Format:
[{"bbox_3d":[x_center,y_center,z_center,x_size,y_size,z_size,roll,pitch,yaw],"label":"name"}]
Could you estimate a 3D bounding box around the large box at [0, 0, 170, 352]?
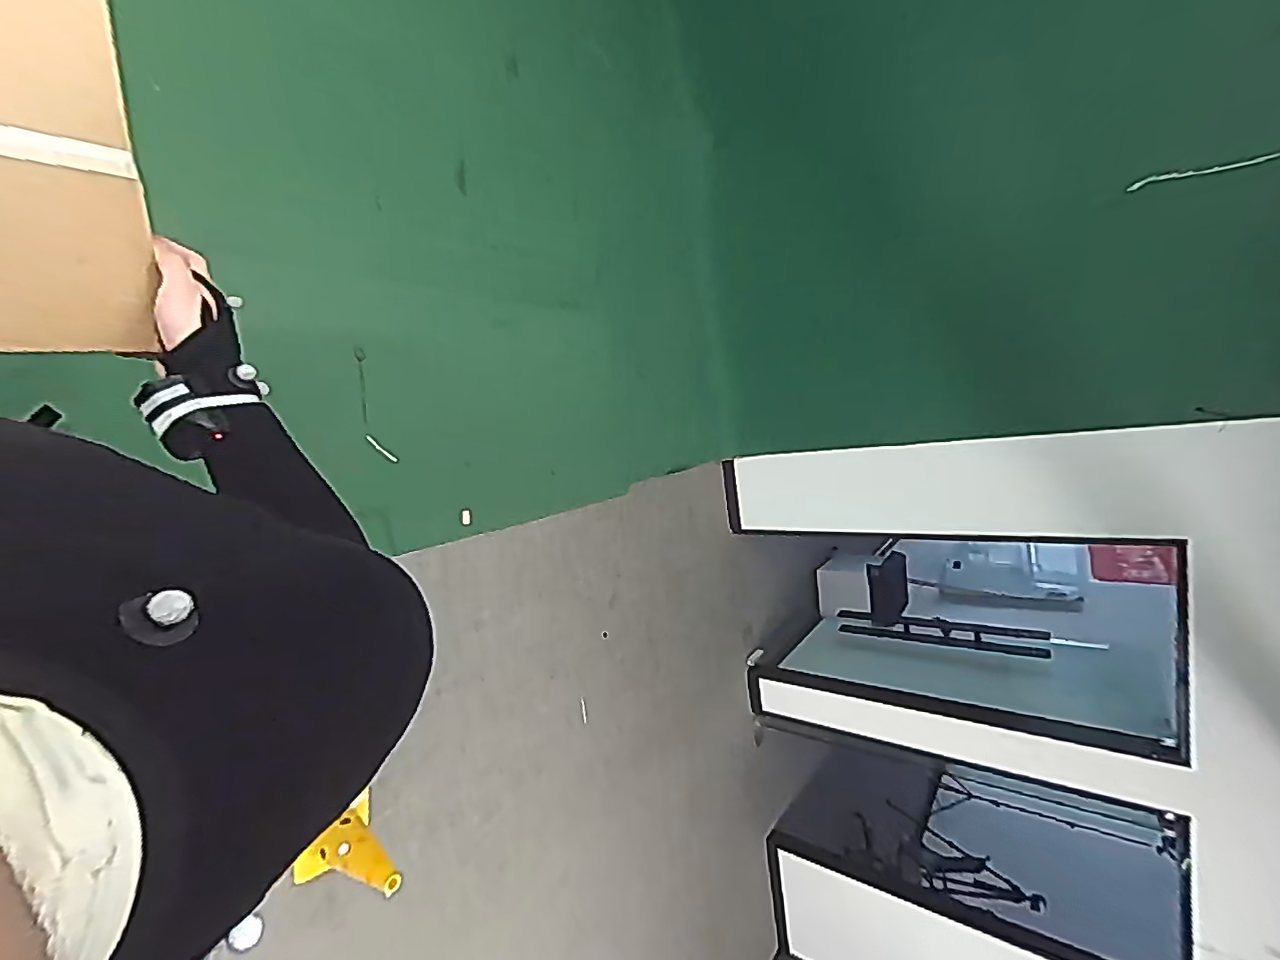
[{"bbox_3d":[-0.682,-0.268,0.409,0.408,0.320,0.320,-18,119,-50],"label":"large box"}]
